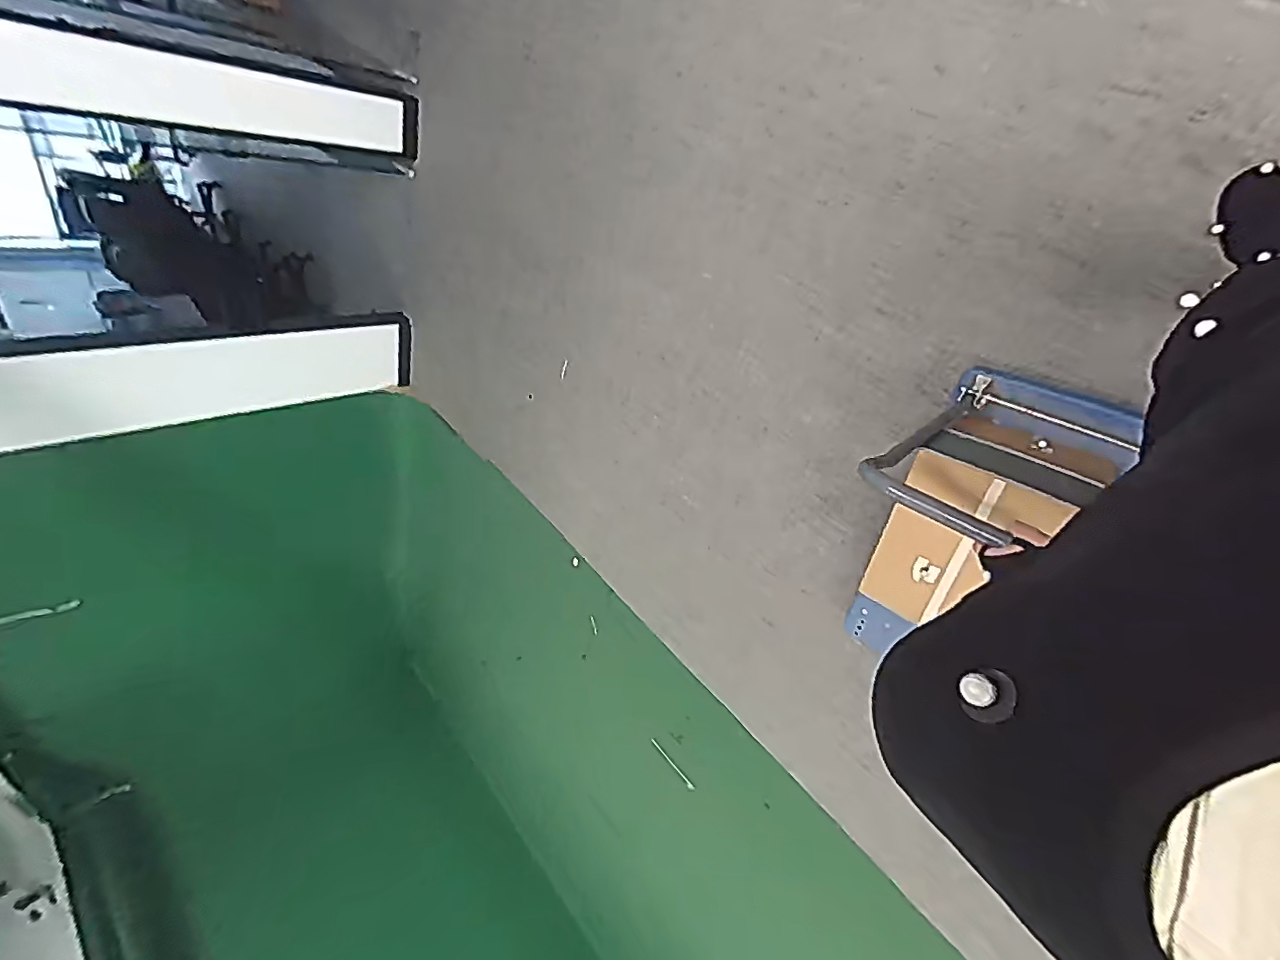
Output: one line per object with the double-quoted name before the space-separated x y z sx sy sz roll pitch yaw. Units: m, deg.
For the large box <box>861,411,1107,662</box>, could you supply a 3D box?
"large box" 0.757 0.103 1.211 0.320 0.320 0.408 30 126 33
